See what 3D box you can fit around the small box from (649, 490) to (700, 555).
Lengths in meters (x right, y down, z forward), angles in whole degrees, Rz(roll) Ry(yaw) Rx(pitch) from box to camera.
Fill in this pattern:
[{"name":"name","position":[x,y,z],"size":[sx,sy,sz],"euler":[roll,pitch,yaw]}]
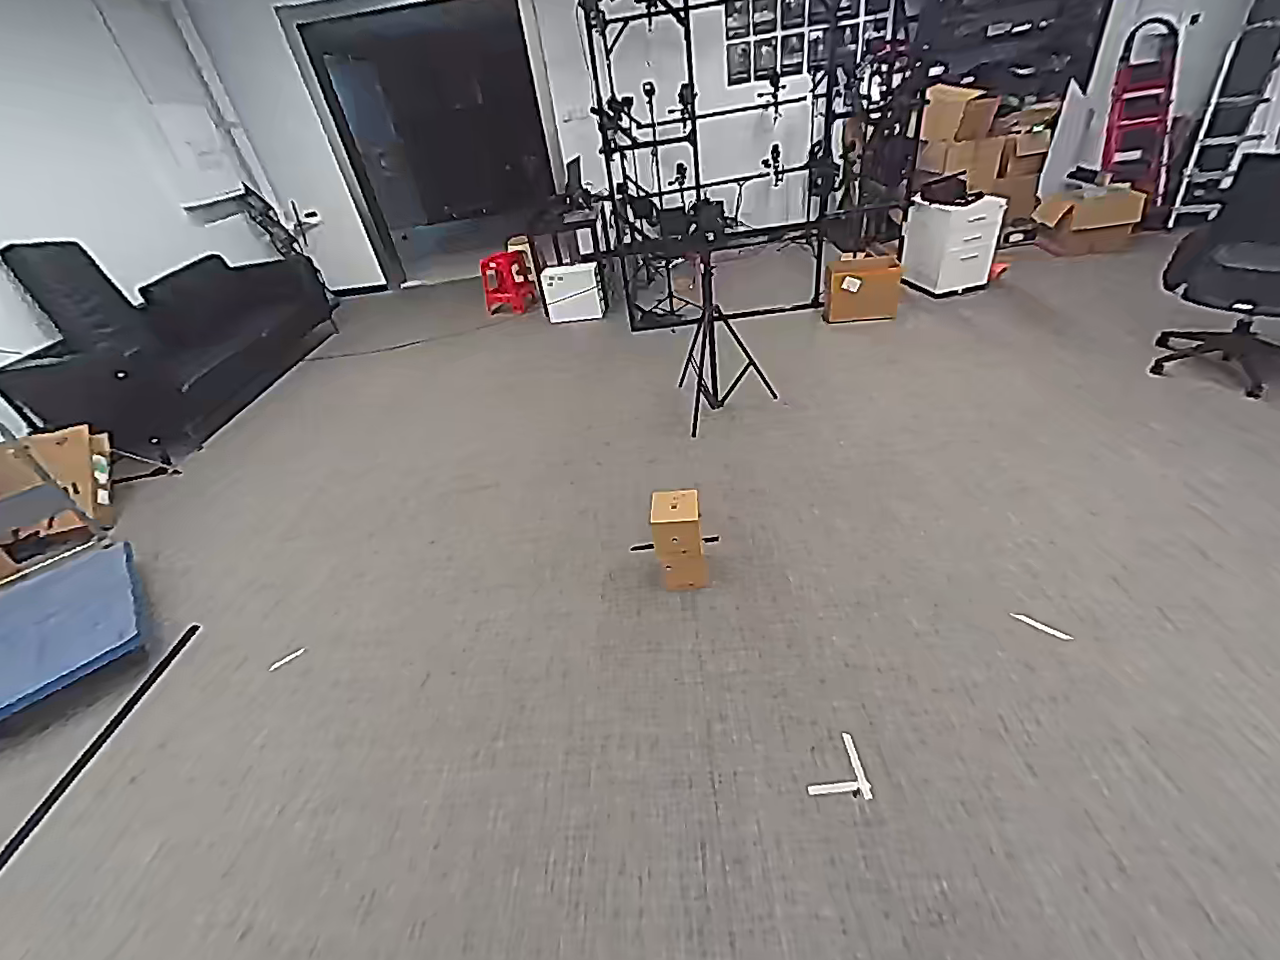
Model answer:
[{"name":"small box","position":[0.128,0.159,1.955],"size":[0.168,0.176,0.179],"euler":[-4,35,8]}]
